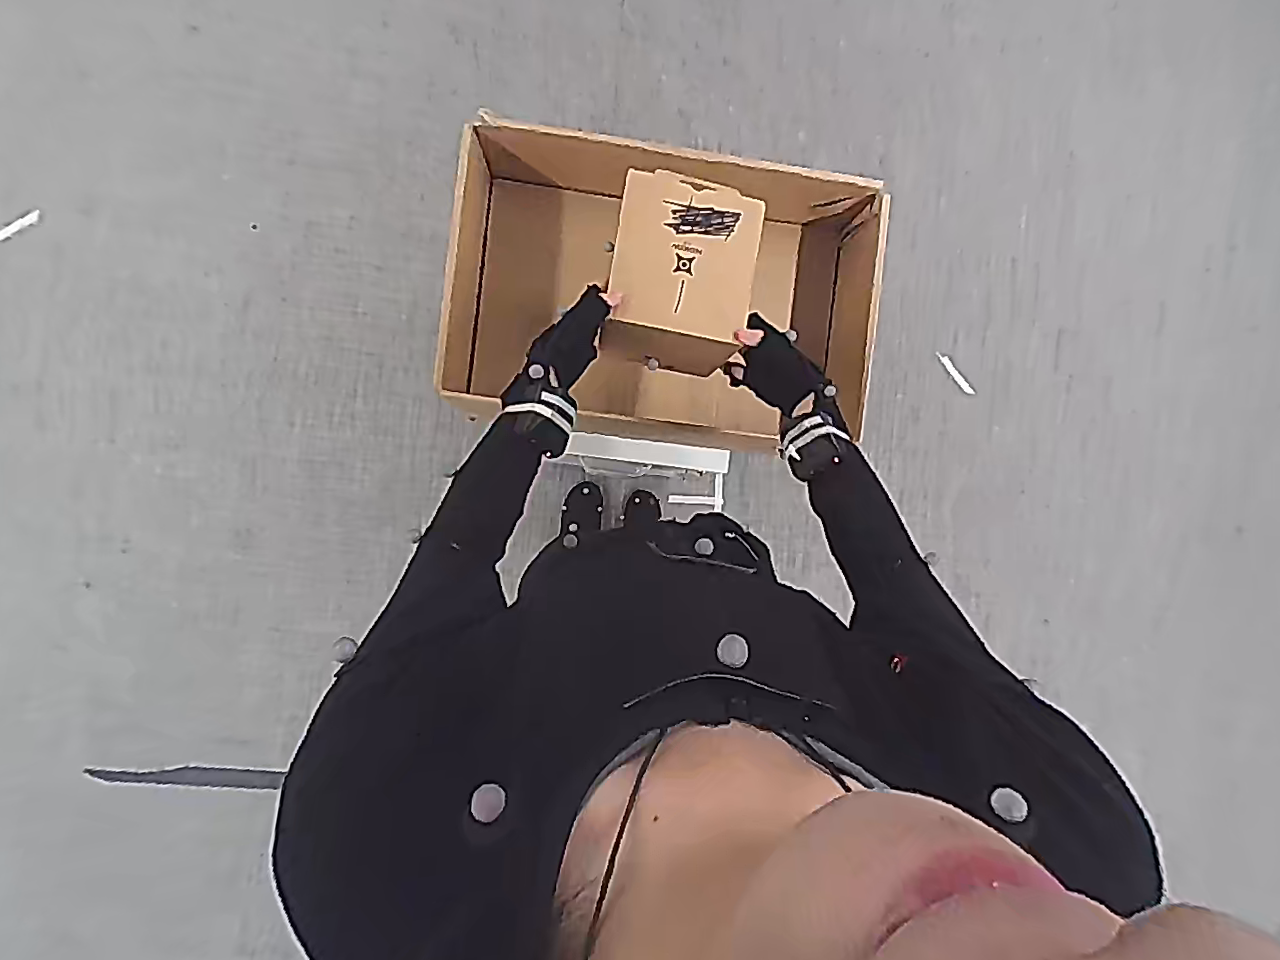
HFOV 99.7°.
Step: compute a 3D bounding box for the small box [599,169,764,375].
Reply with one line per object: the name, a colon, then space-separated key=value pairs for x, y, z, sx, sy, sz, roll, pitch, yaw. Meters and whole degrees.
small box: x=0.042 y=-0.252 z=0.696 sx=0.168 sy=0.176 sz=0.179 roll=10 pitch=87 yaw=-7
